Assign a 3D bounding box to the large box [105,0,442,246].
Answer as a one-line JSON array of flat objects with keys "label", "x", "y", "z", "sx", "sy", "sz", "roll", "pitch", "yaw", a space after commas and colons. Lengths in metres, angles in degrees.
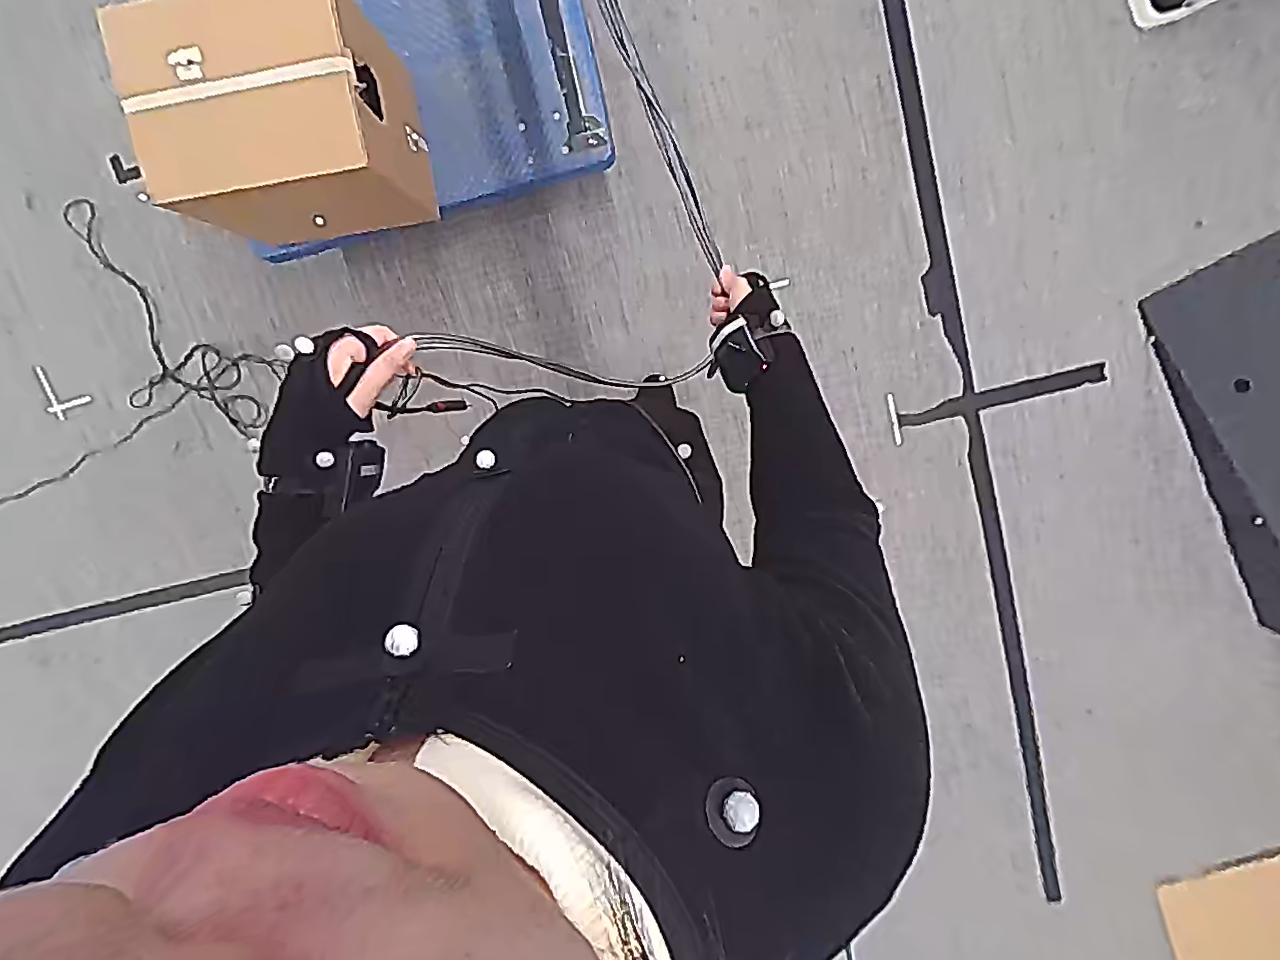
[{"label": "large box", "x": -0.666, "y": -0.681, "z": 1.055, "sx": 0.408, "sy": 0.320, "sz": 0.320, "roll": -8, "pitch": 99, "yaw": 5}]
